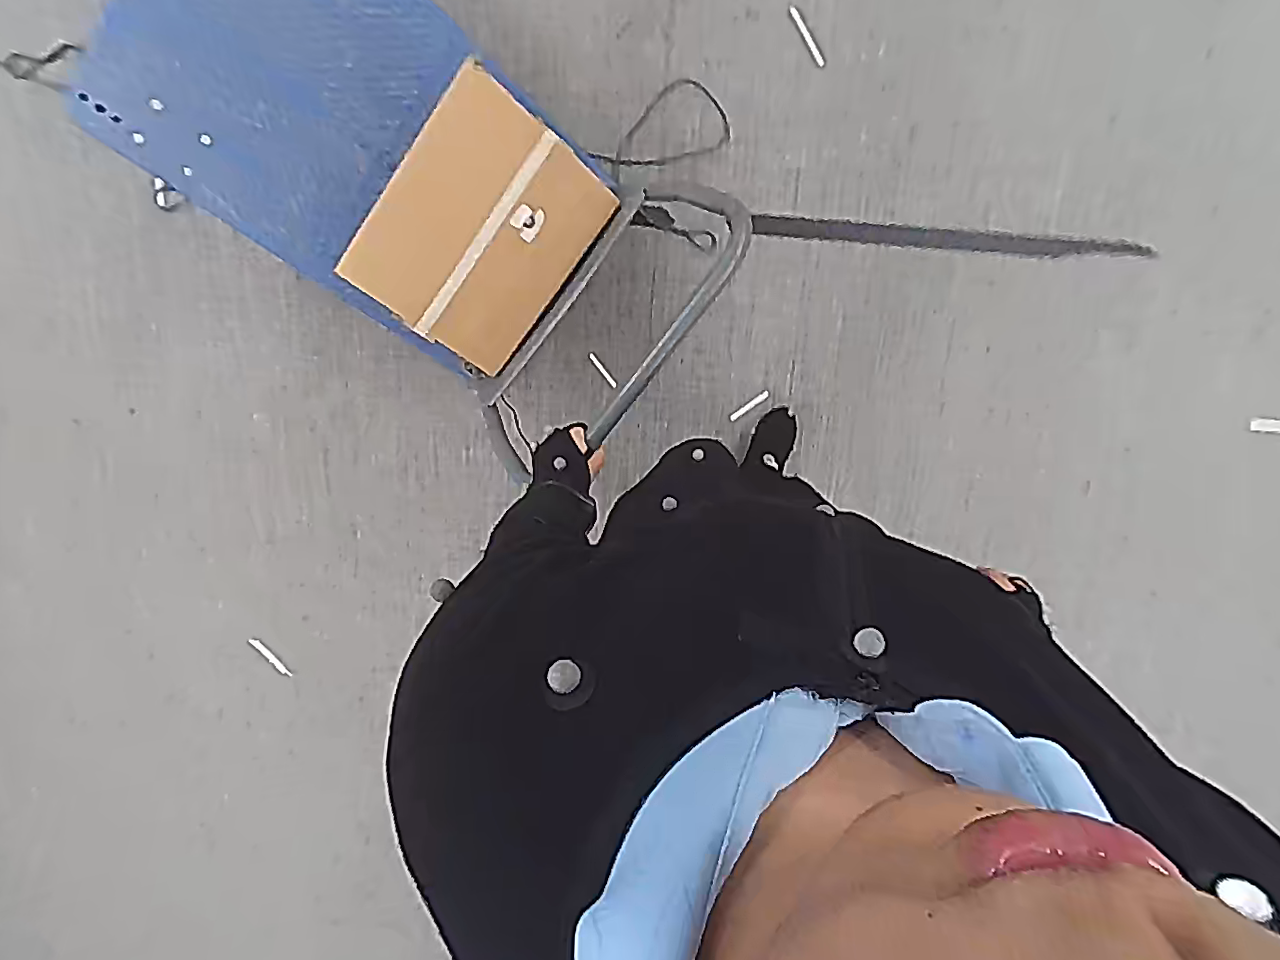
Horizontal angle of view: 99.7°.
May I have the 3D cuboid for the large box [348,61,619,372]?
[{"bbox_3d":[-0.309,-0.490,1.078,0.320,0.320,0.408,33,100,-29],"label":"large box"}]
